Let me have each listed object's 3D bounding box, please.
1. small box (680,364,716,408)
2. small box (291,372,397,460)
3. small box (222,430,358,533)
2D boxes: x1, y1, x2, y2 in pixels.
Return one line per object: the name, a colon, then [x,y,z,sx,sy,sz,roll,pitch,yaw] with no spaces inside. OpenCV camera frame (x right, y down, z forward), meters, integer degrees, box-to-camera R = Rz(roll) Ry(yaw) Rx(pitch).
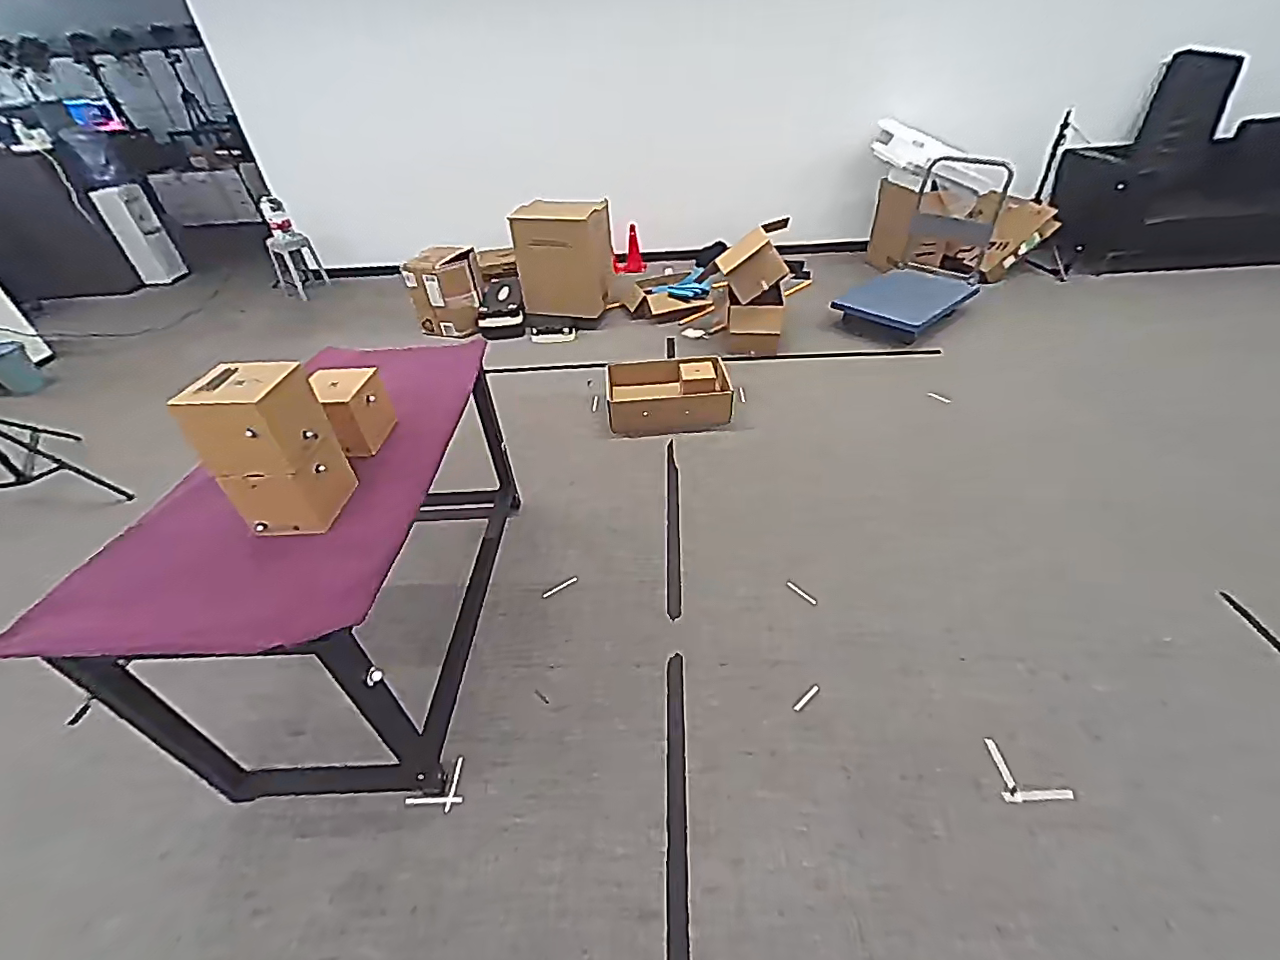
small box: [0.299,-0.479,2.788,0.168,0.176,0.179,-4,38,0]
small box: [-0.770,-0.170,1.435,0.168,0.176,0.179,-2,40,3]
small box: [-0.767,0.008,1.212,0.168,0.176,0.179,-2,38,3]
